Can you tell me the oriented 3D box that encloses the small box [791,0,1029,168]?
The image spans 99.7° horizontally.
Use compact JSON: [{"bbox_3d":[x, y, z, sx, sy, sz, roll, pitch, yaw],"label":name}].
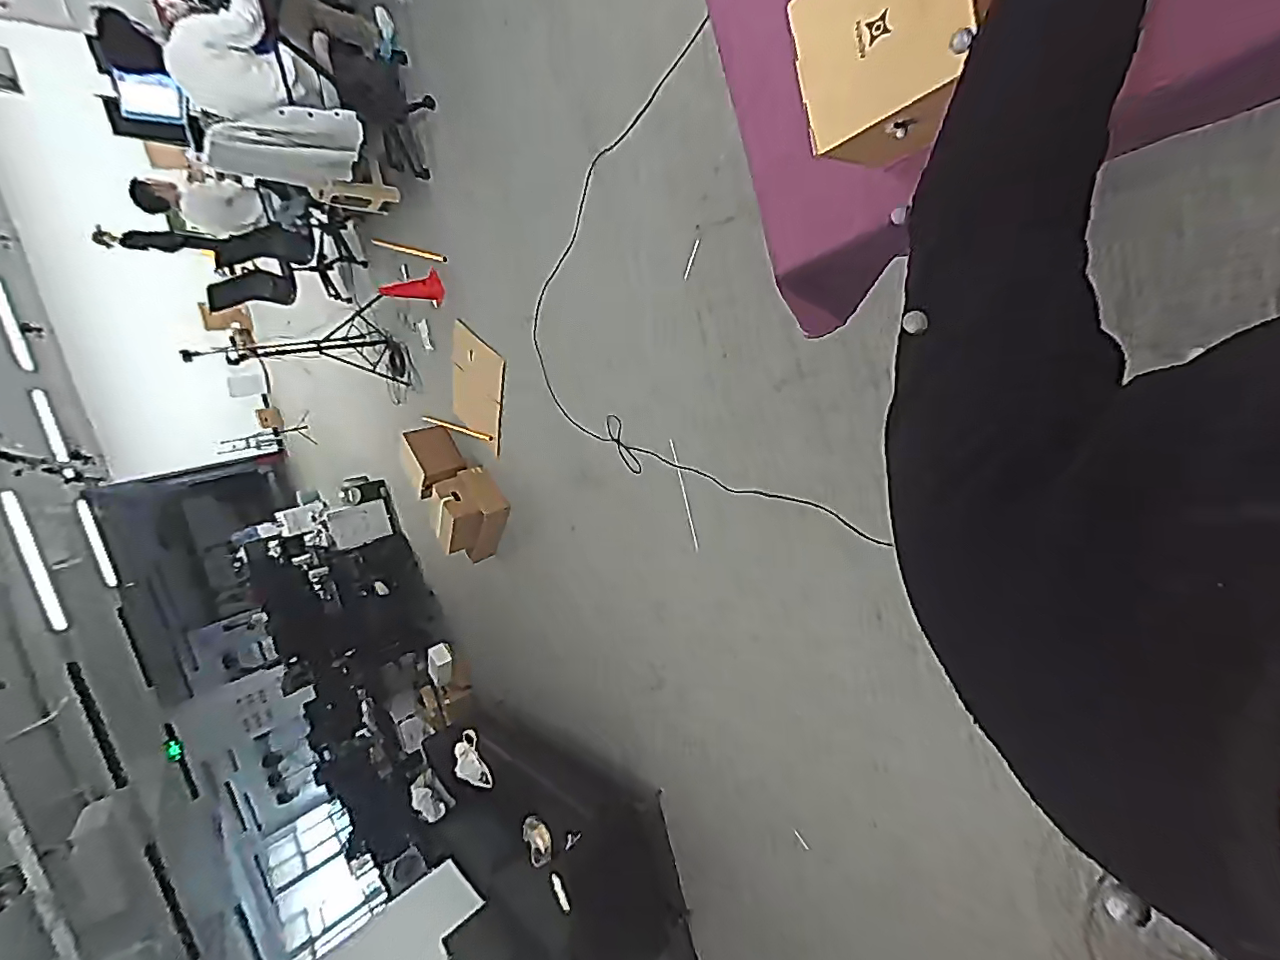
[{"bbox_3d":[0.300,-0.474,0.603,0.179,0.176,0.168,-4,103,50],"label":"small box"}]
